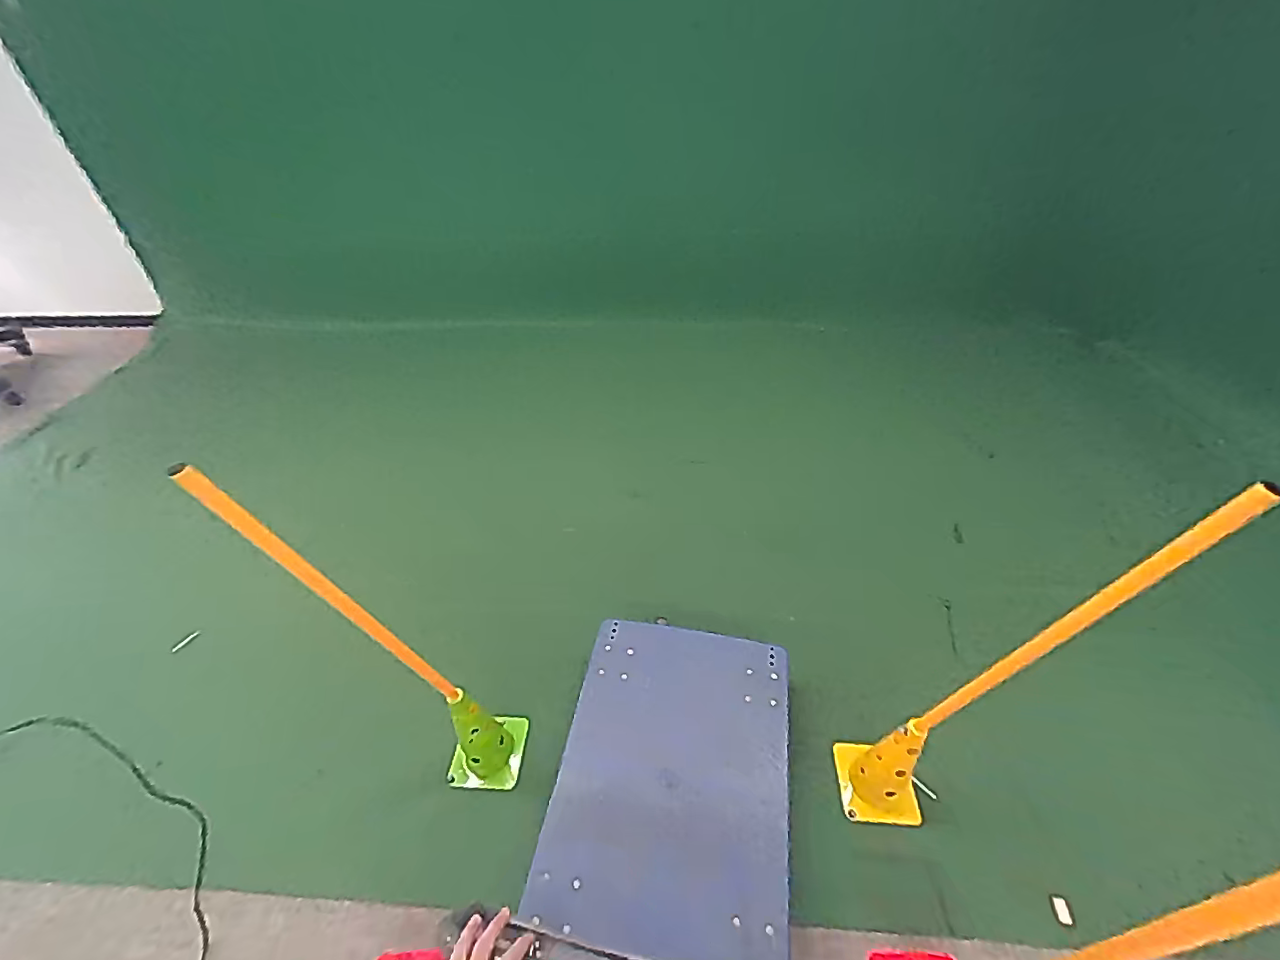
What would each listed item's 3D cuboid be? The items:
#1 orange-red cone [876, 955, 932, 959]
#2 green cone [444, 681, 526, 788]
[{"bbox_3d":[0.604,1.006,1.025,0.198,0.360,0.199,2,41,3],"label":"orange-red cone"},{"bbox_3d":[-0.451,0.651,1.448,0.200,0.368,0.202,1,41,4],"label":"green cone"}]
